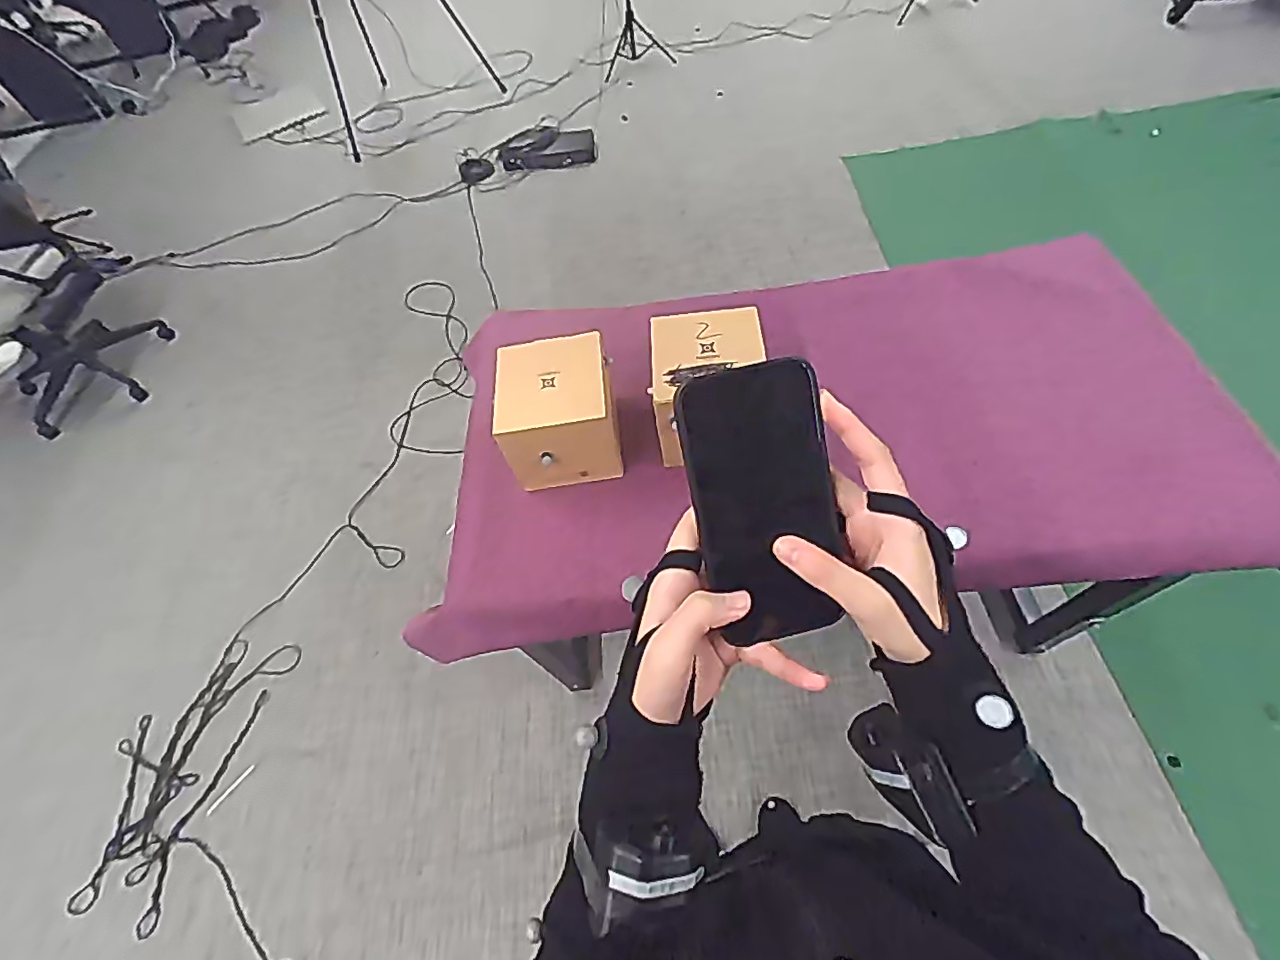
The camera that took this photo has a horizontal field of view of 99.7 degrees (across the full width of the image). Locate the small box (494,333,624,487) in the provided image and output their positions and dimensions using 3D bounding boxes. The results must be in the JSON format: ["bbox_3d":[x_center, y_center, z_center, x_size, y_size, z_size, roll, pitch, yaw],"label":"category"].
[{"bbox_3d":[-0.124,-0.103,0.870,0.168,0.176,0.179,-9,56,3],"label":"small box"}]
